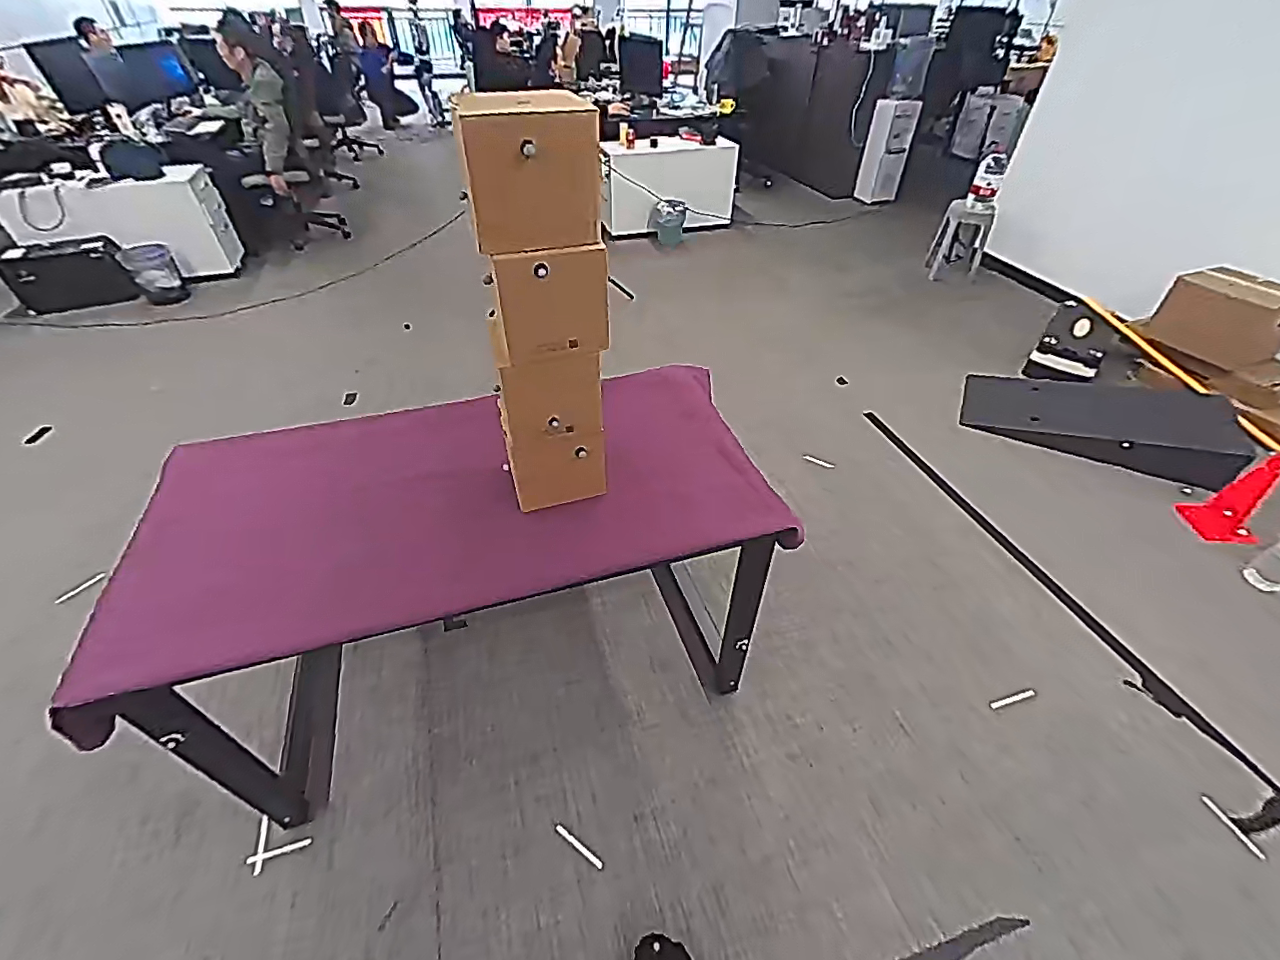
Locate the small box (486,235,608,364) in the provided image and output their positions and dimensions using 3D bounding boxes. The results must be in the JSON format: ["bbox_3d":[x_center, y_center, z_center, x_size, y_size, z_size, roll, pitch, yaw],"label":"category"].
[{"bbox_3d":[-0.154,-0.309,0.875,0.168,0.176,0.179,-13,44,-14],"label":"small box"}]

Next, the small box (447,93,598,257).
[{"bbox_3d":[-0.163,-0.436,0.772,0.179,0.176,0.168,-14,44,-14],"label":"small box"}]

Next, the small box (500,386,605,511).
[{"bbox_3d":[-0.173,-0.063,1.091,0.179,0.176,0.168,-13,43,-14],"label":"small box"}]
